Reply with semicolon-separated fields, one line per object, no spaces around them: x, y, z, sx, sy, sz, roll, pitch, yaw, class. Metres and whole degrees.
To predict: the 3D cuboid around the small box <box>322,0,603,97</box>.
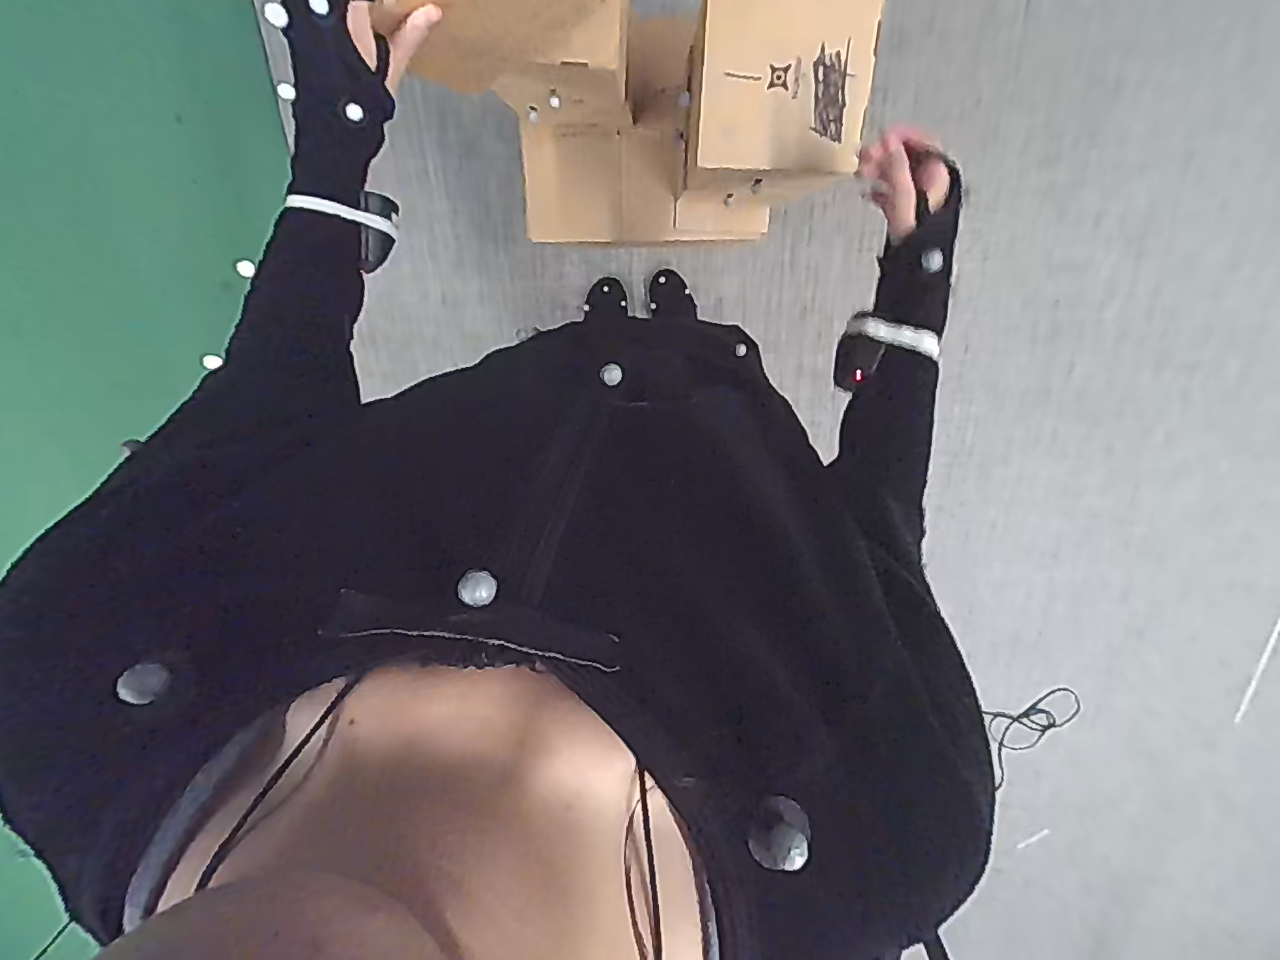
-0.155;-0.454;0.443;0.179;0.176;0.168;-10;107;27;small box

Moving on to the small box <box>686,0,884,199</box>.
0.151;-0.432;0.632;0.179;0.176;0.168;3;111;1;small box

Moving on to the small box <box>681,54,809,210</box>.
0.151;-0.490;0.785;0.179;0.176;0.168;2;113;1;small box

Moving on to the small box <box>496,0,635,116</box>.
-0.094;-0.535;0.604;0.168;0.176;0.179;5;113;1;small box
